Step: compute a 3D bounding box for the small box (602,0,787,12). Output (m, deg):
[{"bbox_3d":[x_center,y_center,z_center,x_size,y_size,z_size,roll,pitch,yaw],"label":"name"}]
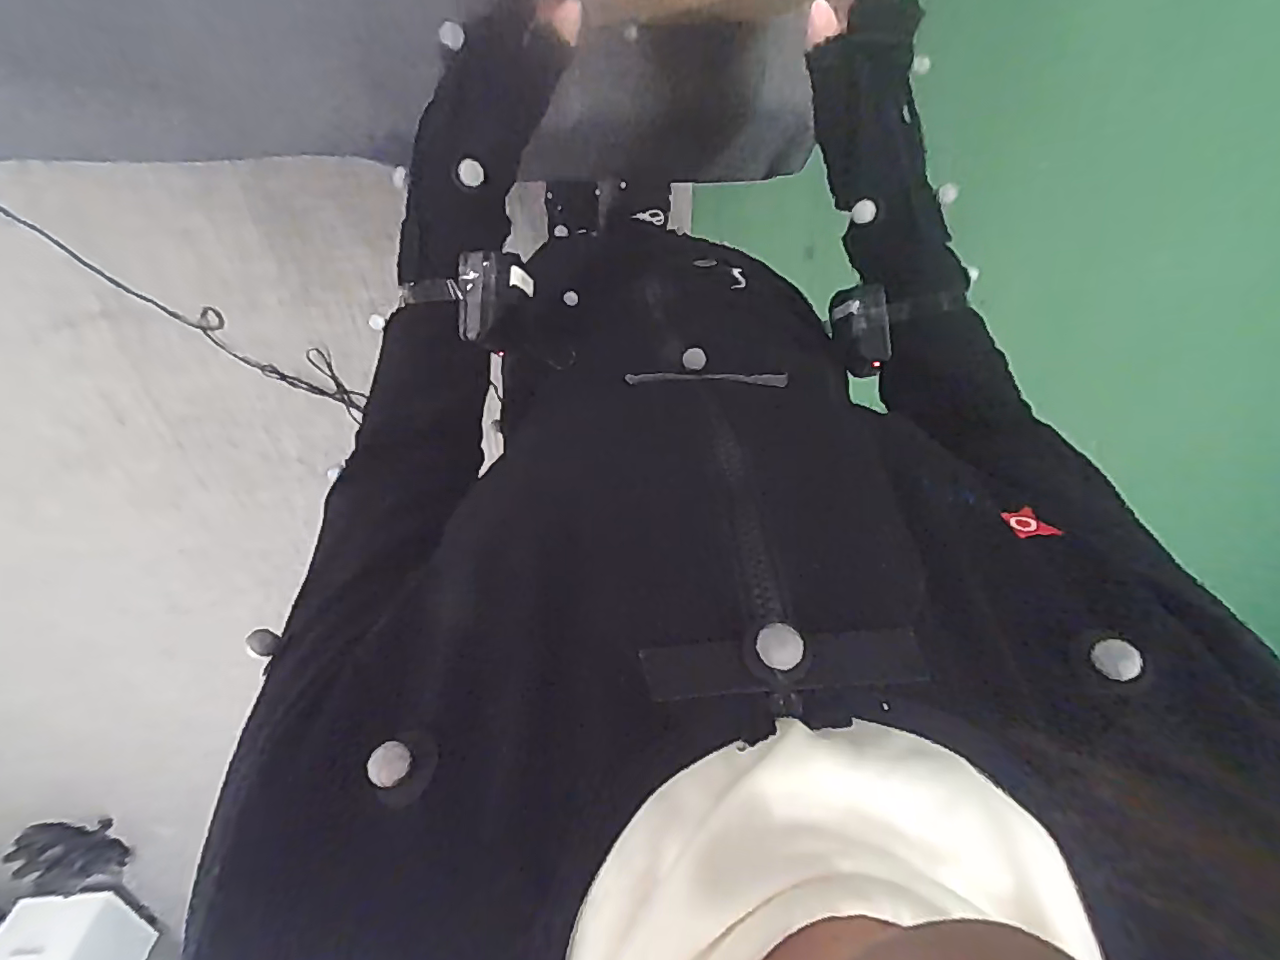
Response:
[{"bbox_3d":[0.043,-0.430,0.353,0.168,0.176,0.179,-2,122,0],"label":"small box"}]
